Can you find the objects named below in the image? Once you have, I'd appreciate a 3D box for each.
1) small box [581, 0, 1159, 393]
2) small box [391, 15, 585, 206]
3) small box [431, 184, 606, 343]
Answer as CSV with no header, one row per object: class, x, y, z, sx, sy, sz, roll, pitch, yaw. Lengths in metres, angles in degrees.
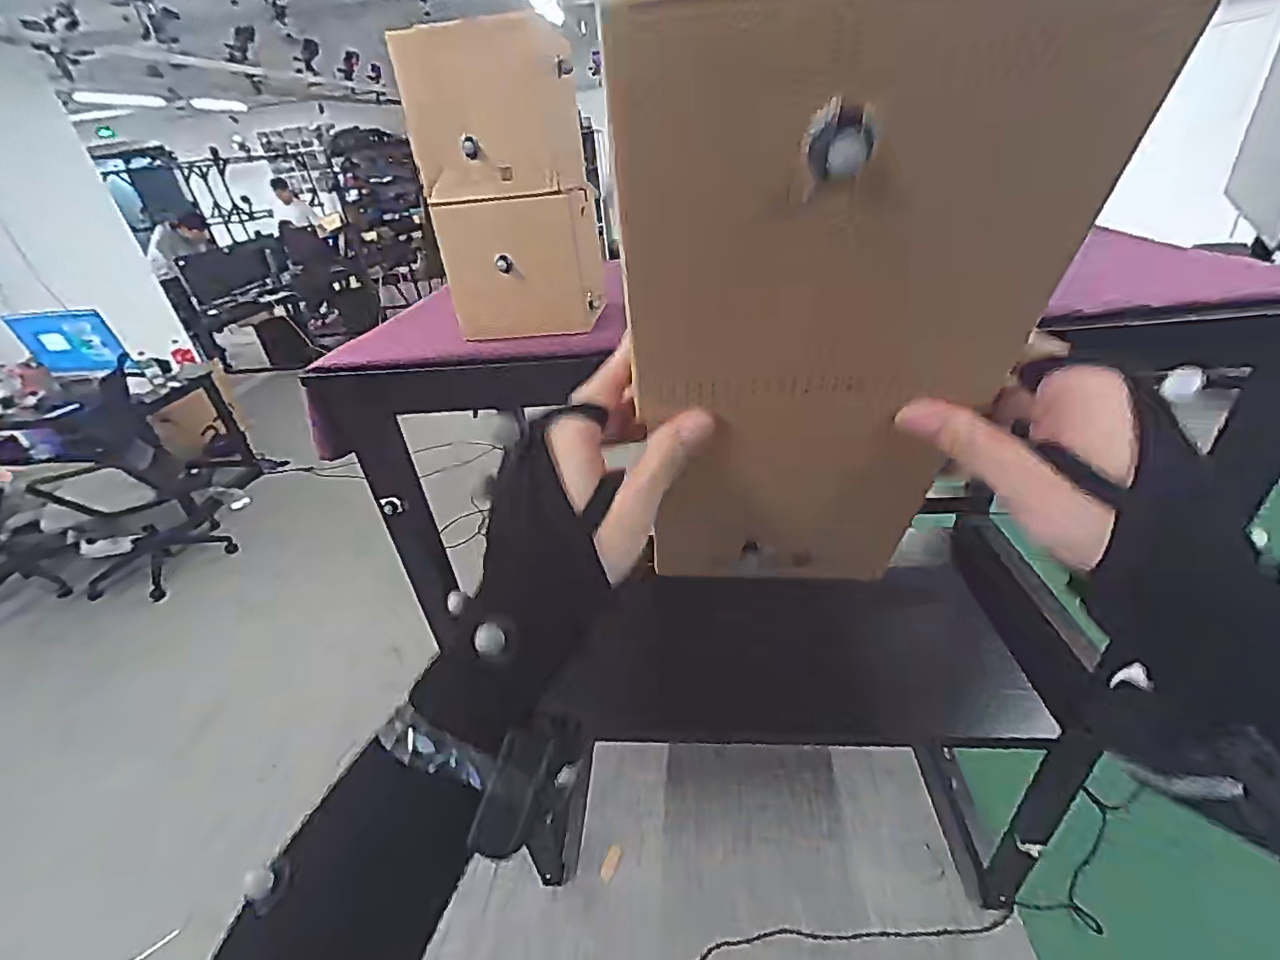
small box,0.078,-0.155,0.259,0.179,0.176,0.168,-1,51,5
small box,-0.169,-0.440,0.668,0.168,0.176,0.179,-2,31,7
small box,-0.149,-0.297,0.743,0.179,0.176,0.168,-3,31,8
